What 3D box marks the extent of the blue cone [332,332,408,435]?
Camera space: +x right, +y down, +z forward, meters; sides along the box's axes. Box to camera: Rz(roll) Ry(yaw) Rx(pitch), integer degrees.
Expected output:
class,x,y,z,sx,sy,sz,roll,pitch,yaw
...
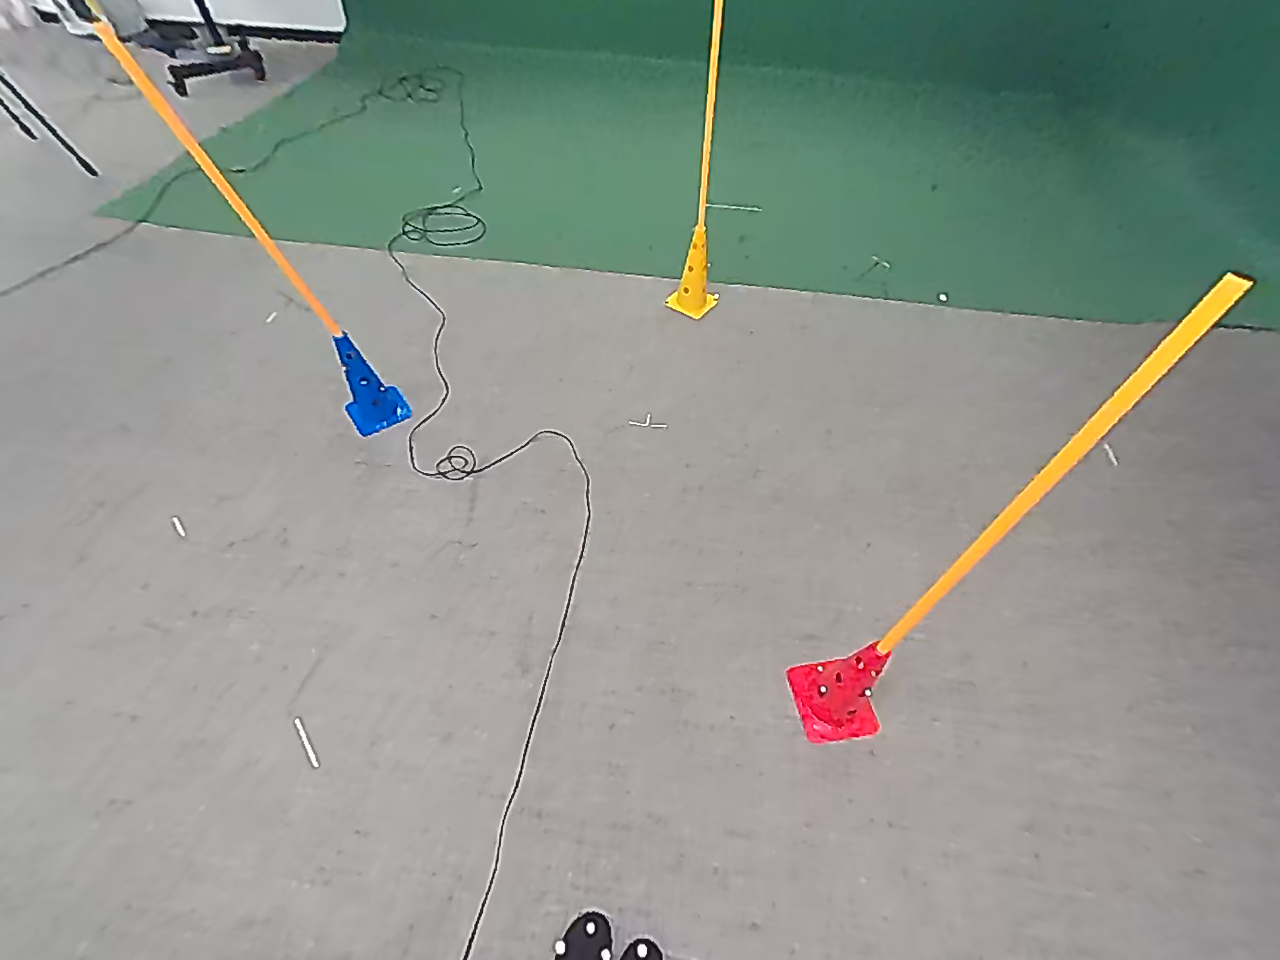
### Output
class,x,y,z,sx,sy,sz,roll,pitch,yaw
blue cone,-0.980,-0.352,1.894,0.193,0.380,0.192,-32,60,-22
